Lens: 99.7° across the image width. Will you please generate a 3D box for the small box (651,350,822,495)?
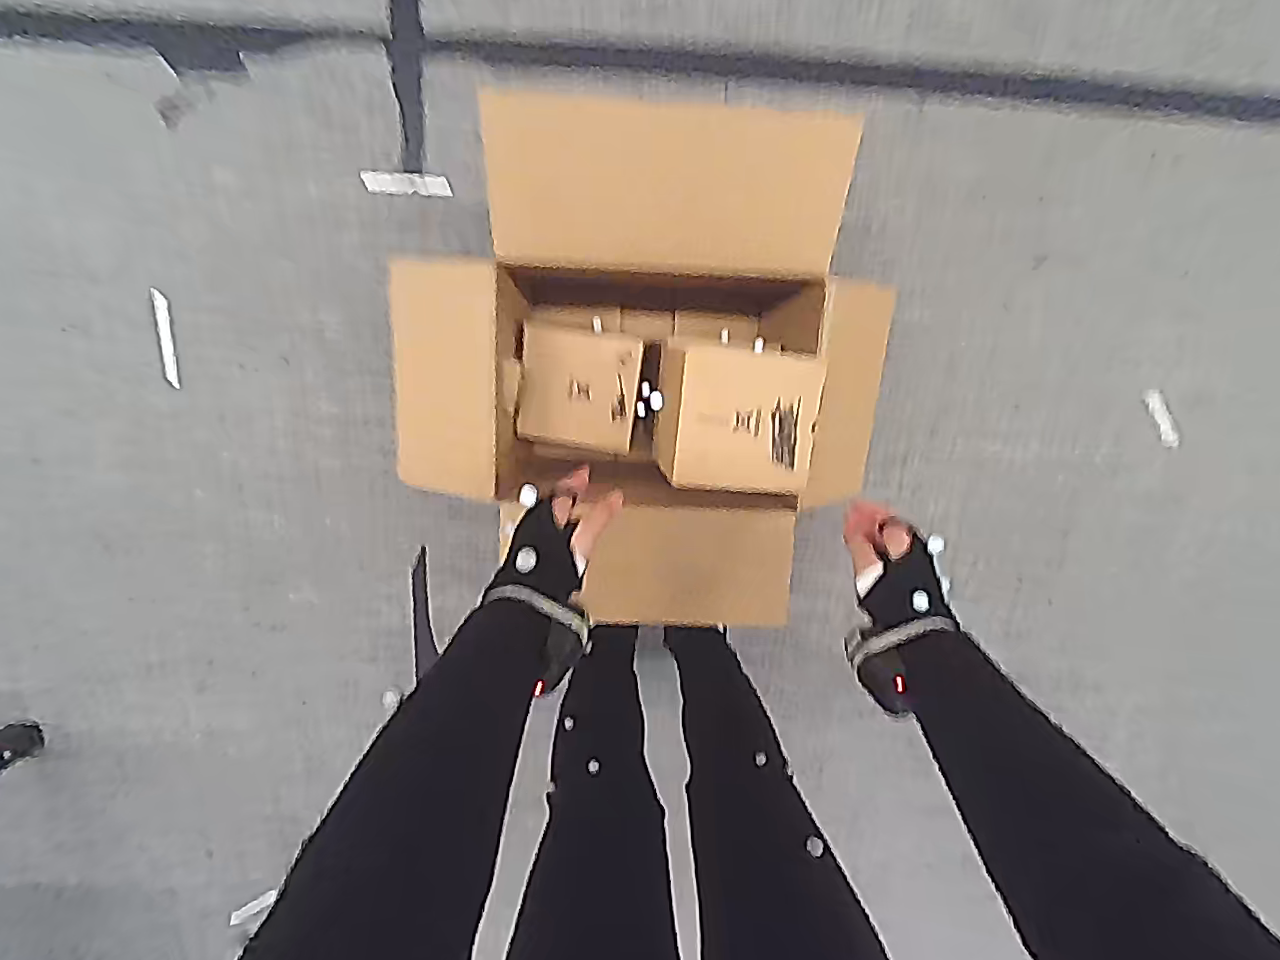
[{"bbox_3d":[0.117,-0.084,0.733,0.179,0.176,0.168,4,103,-7],"label":"small box"}]
